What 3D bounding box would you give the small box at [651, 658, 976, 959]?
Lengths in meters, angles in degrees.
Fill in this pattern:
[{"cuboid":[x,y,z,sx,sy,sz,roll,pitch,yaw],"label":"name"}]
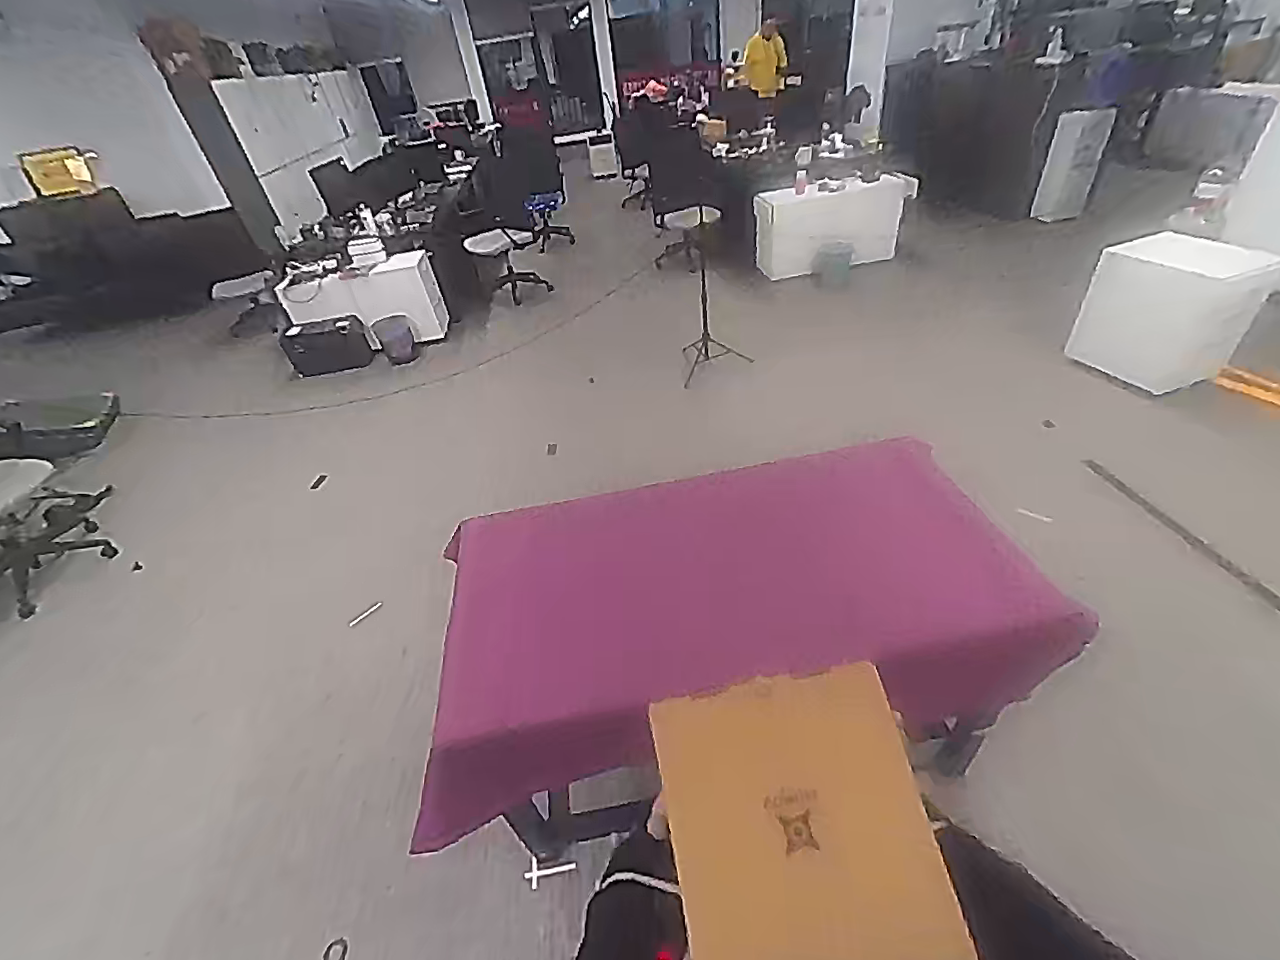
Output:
[{"cuboid":[0.110,0.251,0.420,0.168,0.176,0.179,-12,63,1],"label":"small box"}]
